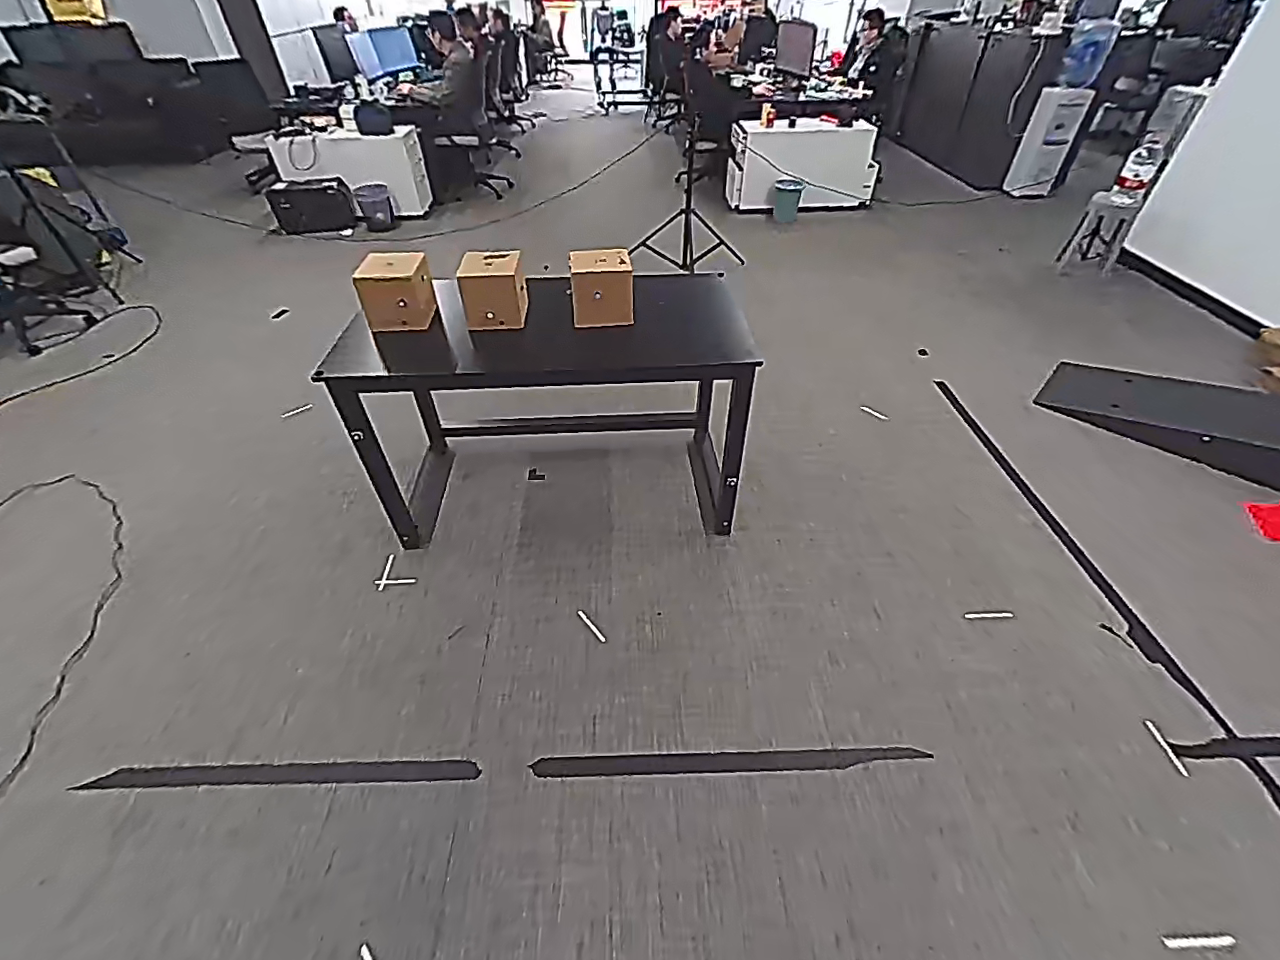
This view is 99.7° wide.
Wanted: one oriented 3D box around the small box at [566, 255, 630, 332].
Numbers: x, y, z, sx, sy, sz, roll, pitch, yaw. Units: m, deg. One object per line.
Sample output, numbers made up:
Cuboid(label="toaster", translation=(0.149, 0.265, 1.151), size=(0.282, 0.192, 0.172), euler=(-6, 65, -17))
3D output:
Cuboid(label="small box", translation=(-0.127, -0.562, 1.636), size=(0.179, 0.176, 0.168), euler=(-6, 43, -5))

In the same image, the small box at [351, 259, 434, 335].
Cuboid(label="small box", translation=(-0.732, -0.546, 1.624), size=(0.168, 0.176, 0.179), euler=(-3, 42, -4))

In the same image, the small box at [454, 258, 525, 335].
Cuboid(label="small box", translation=(-0.445, -0.553, 1.628), size=(0.168, 0.176, 0.179), euler=(-3, 44, -3))
